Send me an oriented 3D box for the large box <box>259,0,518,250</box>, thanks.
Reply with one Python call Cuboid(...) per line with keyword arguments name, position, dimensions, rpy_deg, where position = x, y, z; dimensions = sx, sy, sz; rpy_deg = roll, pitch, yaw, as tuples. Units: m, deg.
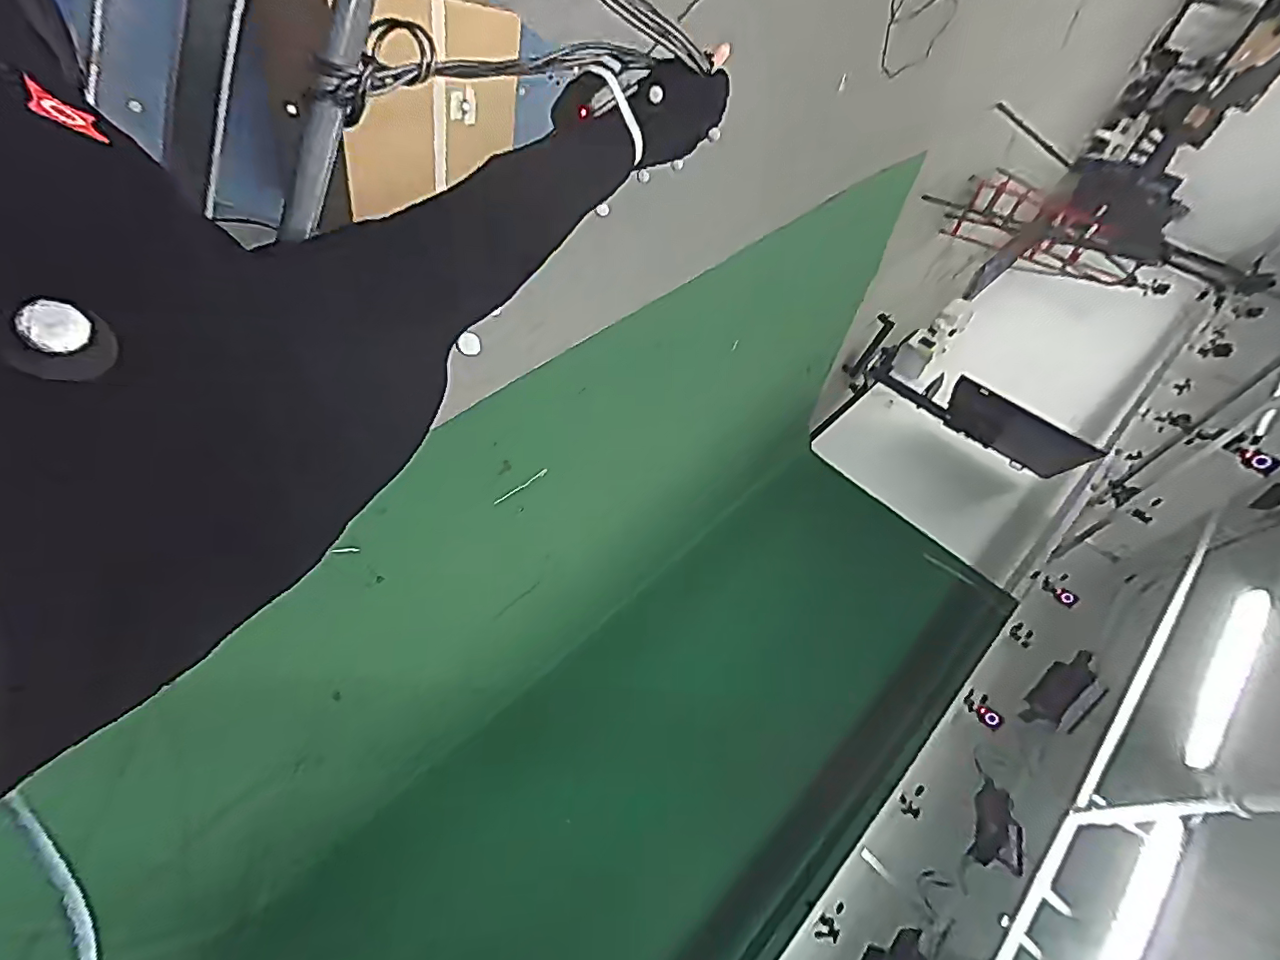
Cuboid(name="large box", position=(-0.452, -0.695, 0.995), dimensions=(0.320, 0.320, 0.408), rpy_deg=(-27, 148, -39))
